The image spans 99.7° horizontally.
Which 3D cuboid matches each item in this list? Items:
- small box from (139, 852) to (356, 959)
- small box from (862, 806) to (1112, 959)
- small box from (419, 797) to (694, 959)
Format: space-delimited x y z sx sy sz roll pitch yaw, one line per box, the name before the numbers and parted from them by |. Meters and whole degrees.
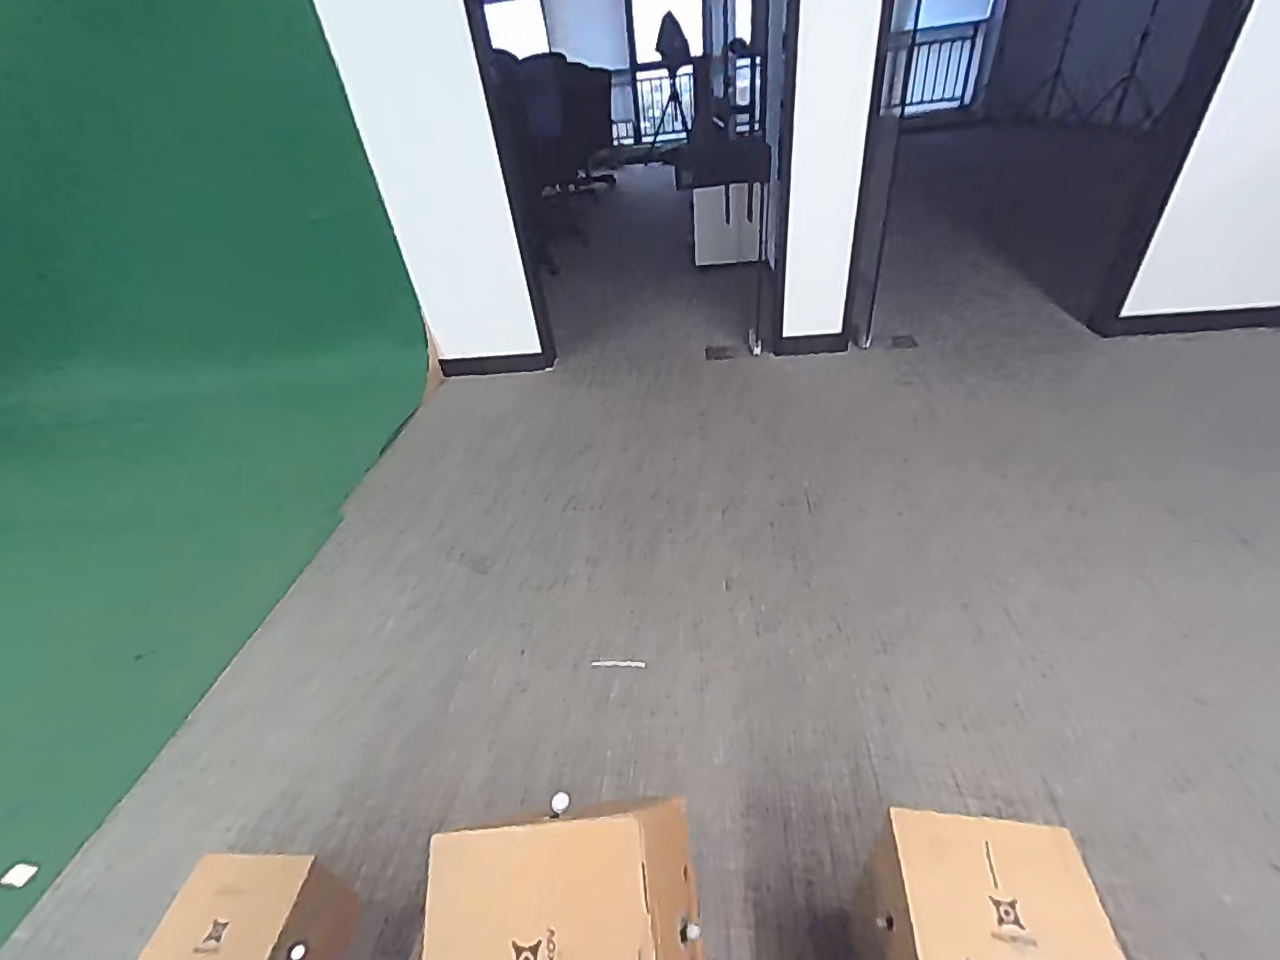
small box | -0.512 0.624 0.711 0.168 0.176 0.179 -2 36 6
small box | 0.321 0.451 0.519 0.168 0.176 0.179 1 36 11
small box | -0.059 0.367 0.448 0.179 0.176 0.168 -11 61 9
